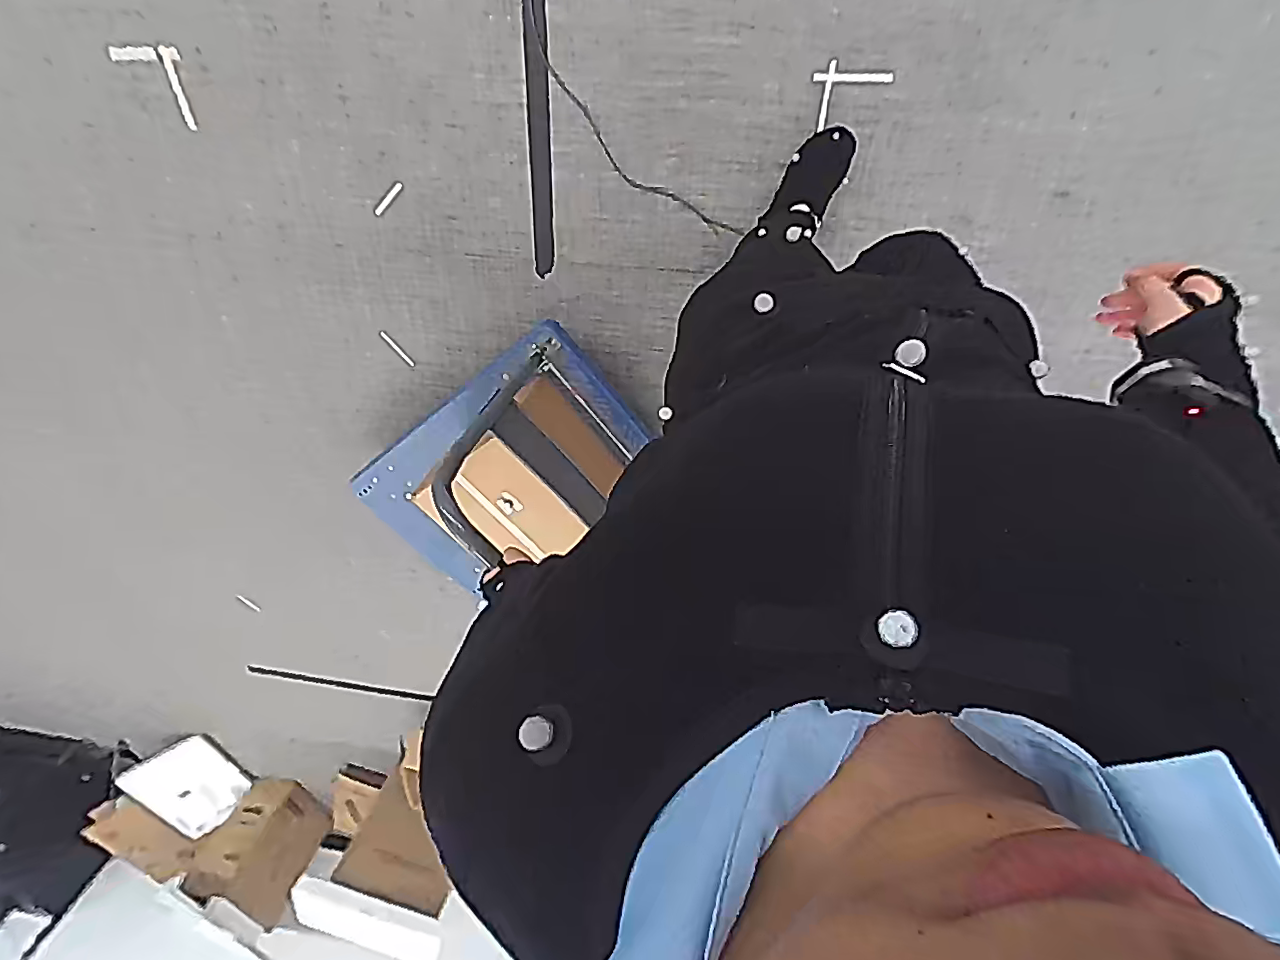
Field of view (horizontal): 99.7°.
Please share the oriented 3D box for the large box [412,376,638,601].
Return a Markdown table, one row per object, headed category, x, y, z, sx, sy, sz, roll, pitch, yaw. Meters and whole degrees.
| category | x | y | z | sx | sy | sz | roll | pitch | yaw |
| --- | --- | --- | --- | --- | --- | --- | --- | --- | --- |
| large box | -0.260 | 0.024 | 1.354 | 0.320 | 0.320 | 0.408 | -30 | 114 | 25 |
